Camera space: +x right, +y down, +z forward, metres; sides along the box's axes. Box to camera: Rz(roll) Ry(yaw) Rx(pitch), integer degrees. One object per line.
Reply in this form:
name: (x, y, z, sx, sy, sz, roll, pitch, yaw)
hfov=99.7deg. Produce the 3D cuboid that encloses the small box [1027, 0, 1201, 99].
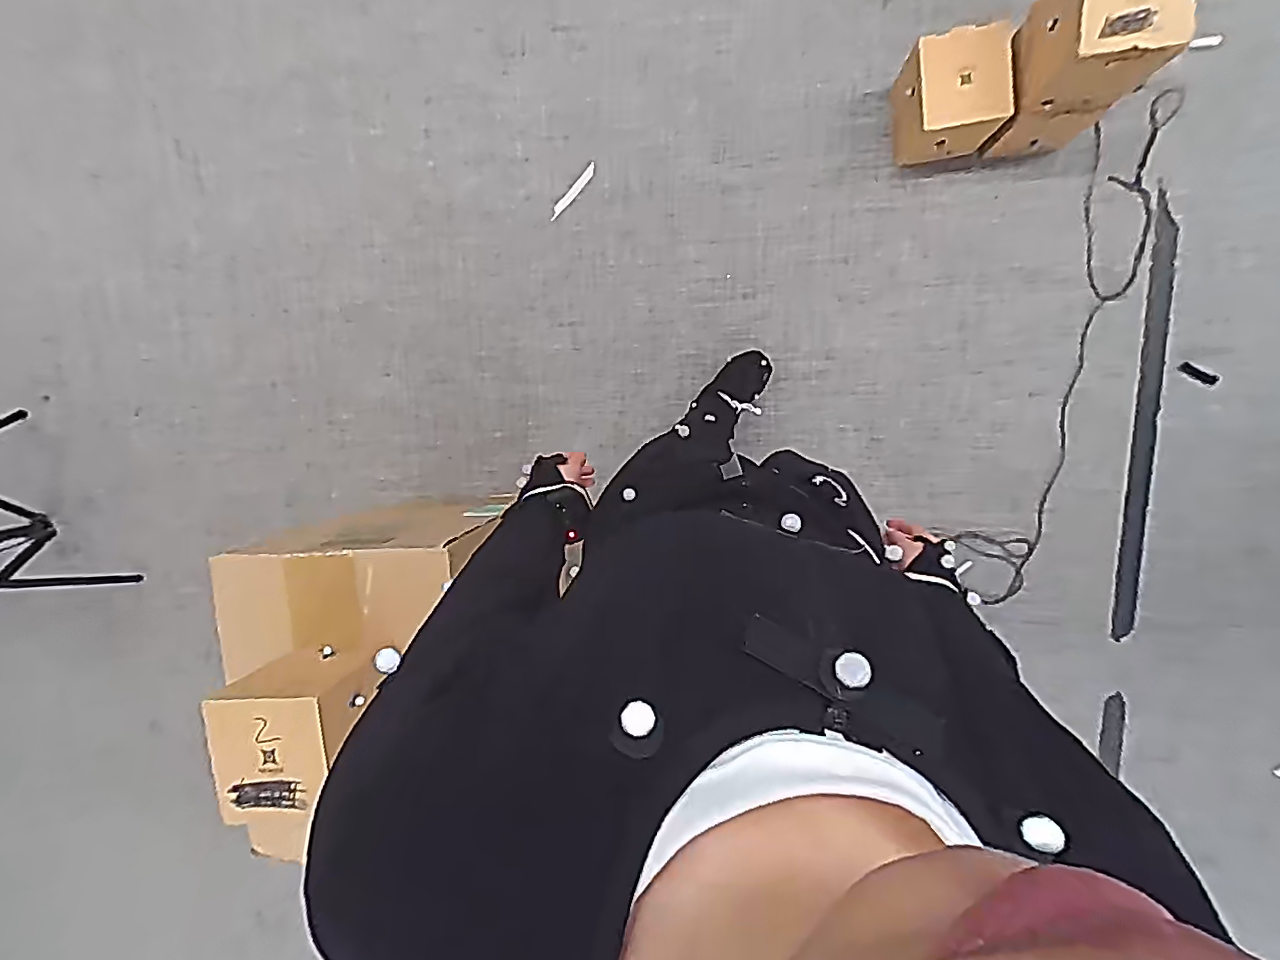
small box: (0.796, -0.782, 0.921, 0.168, 0.176, 0.179, 0, 96, 7)
